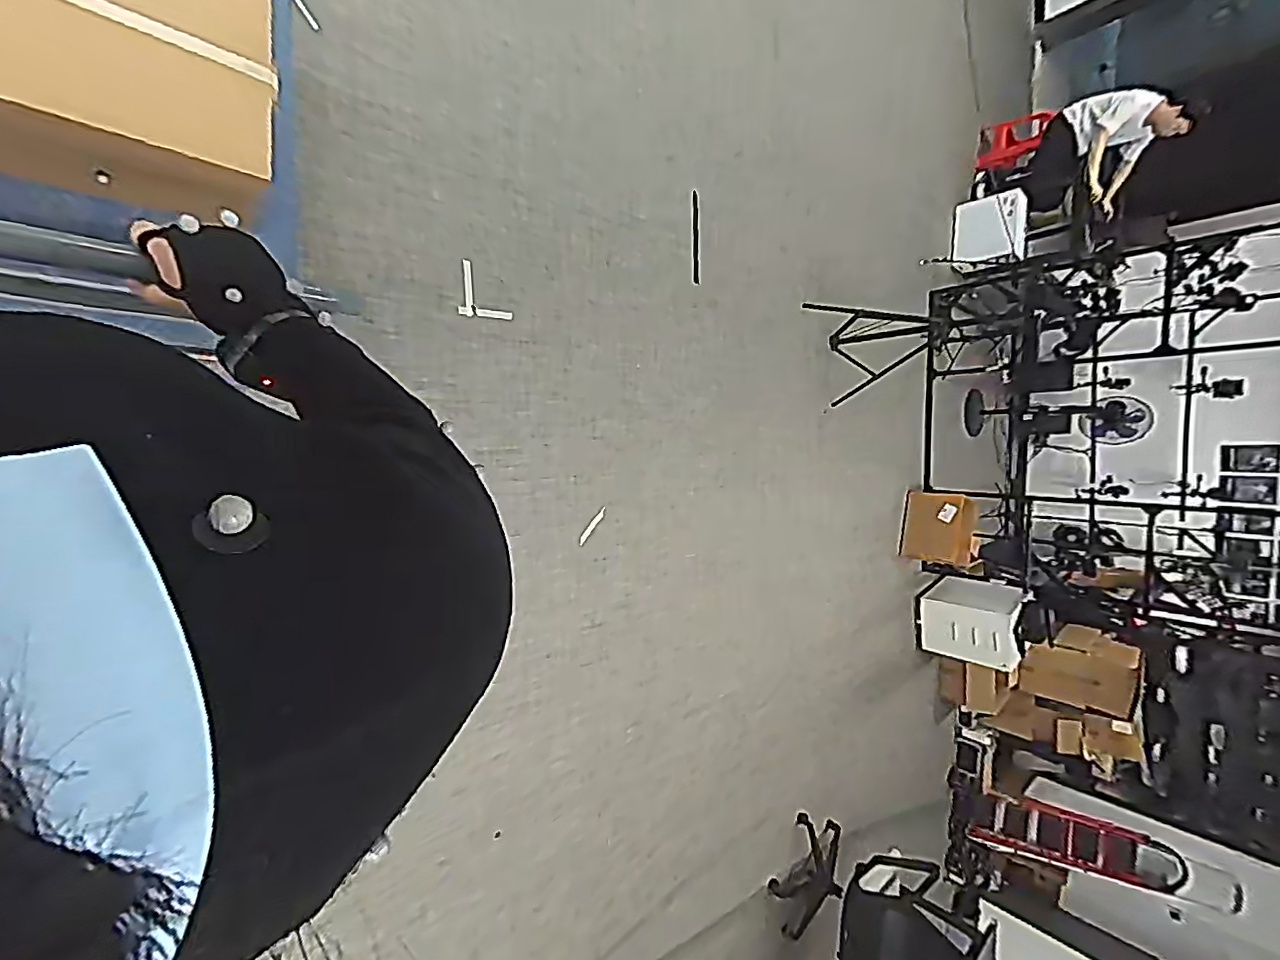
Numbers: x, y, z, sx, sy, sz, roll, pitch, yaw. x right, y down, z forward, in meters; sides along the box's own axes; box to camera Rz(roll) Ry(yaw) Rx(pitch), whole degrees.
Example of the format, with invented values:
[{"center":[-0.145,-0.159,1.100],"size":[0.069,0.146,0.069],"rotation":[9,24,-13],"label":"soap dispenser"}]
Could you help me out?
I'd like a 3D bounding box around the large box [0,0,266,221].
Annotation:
[{"center":[-0.845,-0.653,0.842],"size":[0.408,0.320,0.320],"rotation":[-1,93,-41],"label":"large box"}]
